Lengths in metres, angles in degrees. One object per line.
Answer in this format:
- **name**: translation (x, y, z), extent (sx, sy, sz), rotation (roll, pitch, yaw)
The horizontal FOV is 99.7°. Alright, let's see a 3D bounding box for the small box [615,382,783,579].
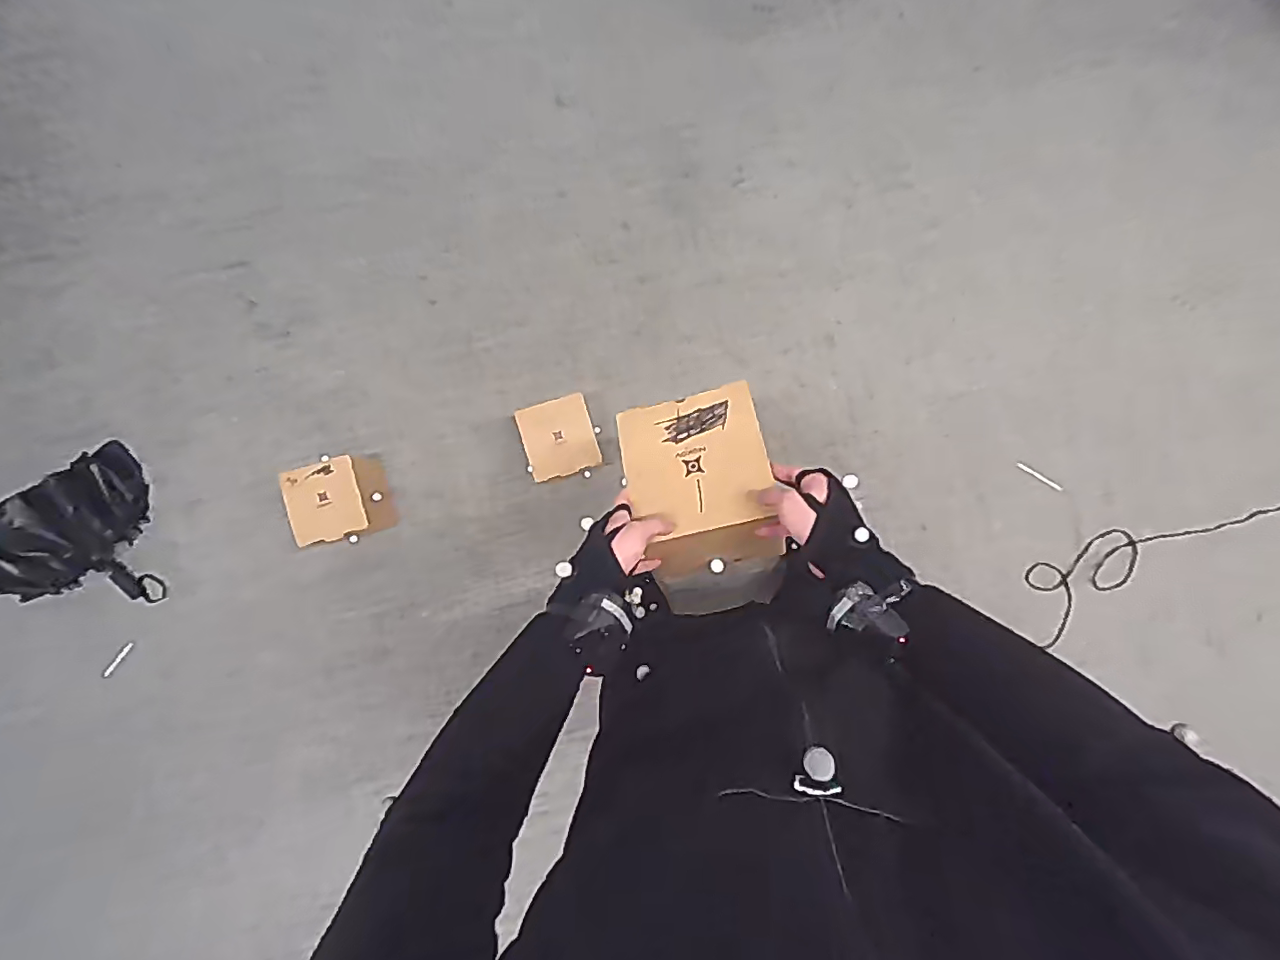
- **small box**: translation (0.078, 0.009, 0.686), extent (0.168, 0.176, 0.179), rotation (-15, 64, 11)

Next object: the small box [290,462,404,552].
- **small box**: translation (-0.702, 0.063, 1.317), extent (0.168, 0.176, 0.179), rotation (-16, 88, -3)

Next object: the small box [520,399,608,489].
- **small box**: translation (-0.180, -0.081, 1.335), extent (0.168, 0.176, 0.179), rotation (-18, 86, -3)
